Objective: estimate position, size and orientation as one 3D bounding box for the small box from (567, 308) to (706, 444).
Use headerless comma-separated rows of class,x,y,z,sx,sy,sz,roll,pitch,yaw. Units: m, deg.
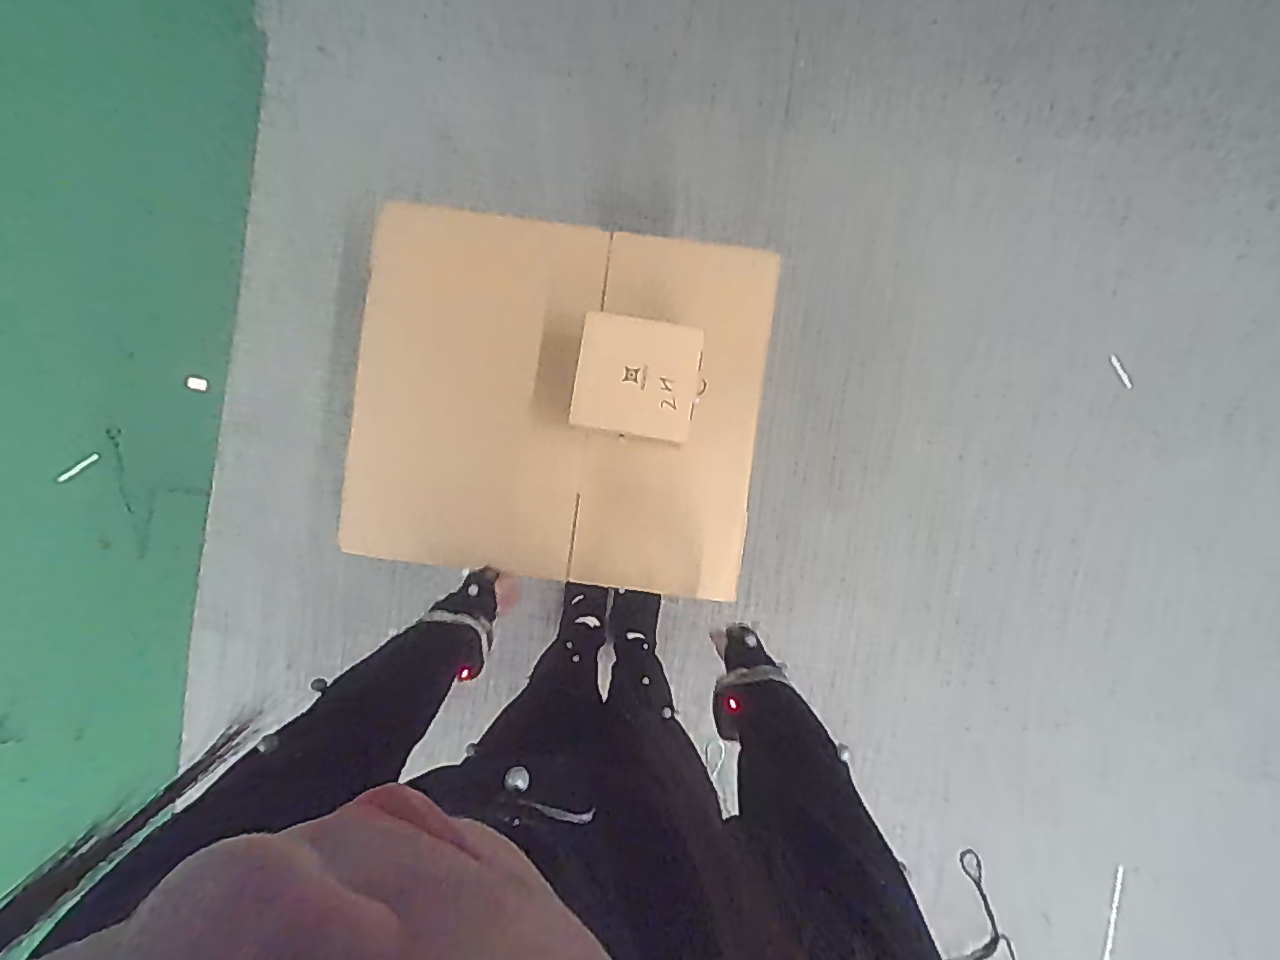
small box,-0.003,-0.151,0.847,0.179,0.176,0.168,10,92,1
